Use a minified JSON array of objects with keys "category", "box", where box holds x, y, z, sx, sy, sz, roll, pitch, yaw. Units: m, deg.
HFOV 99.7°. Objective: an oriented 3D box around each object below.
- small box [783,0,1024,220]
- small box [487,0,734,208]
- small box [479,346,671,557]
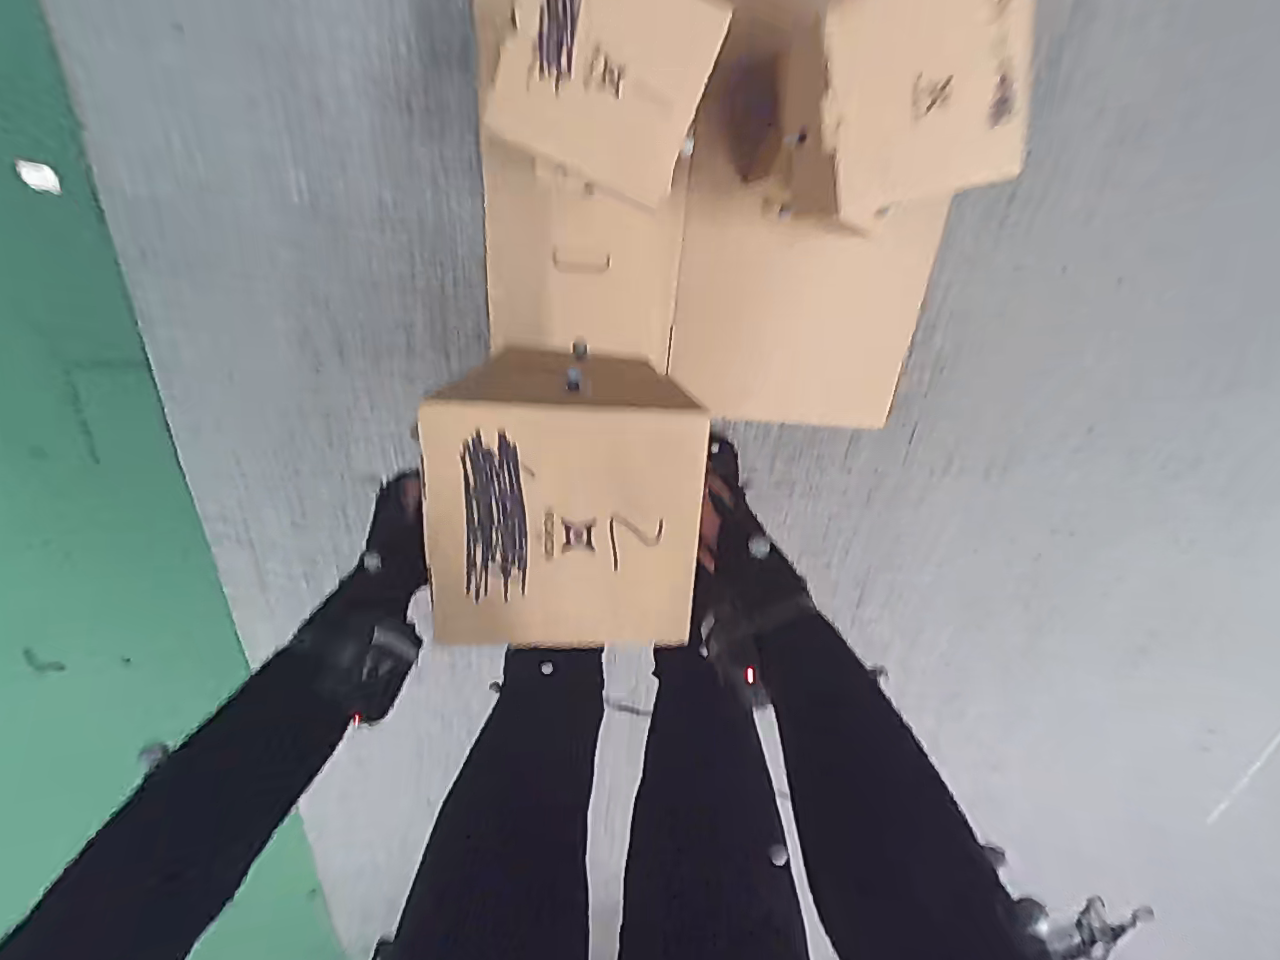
[{"category":"small box","box":[0.255,-0.377,0.563,0.179,0.176,0.168,-12,115,5]},{"category":"small box","box":[-0.032,-0.393,0.551,0.179,0.176,0.168,21,113,-12]},{"category":"small box","box":[-0.070,-0.038,0.575,0.168,0.176,0.179,5,108,-8]}]
